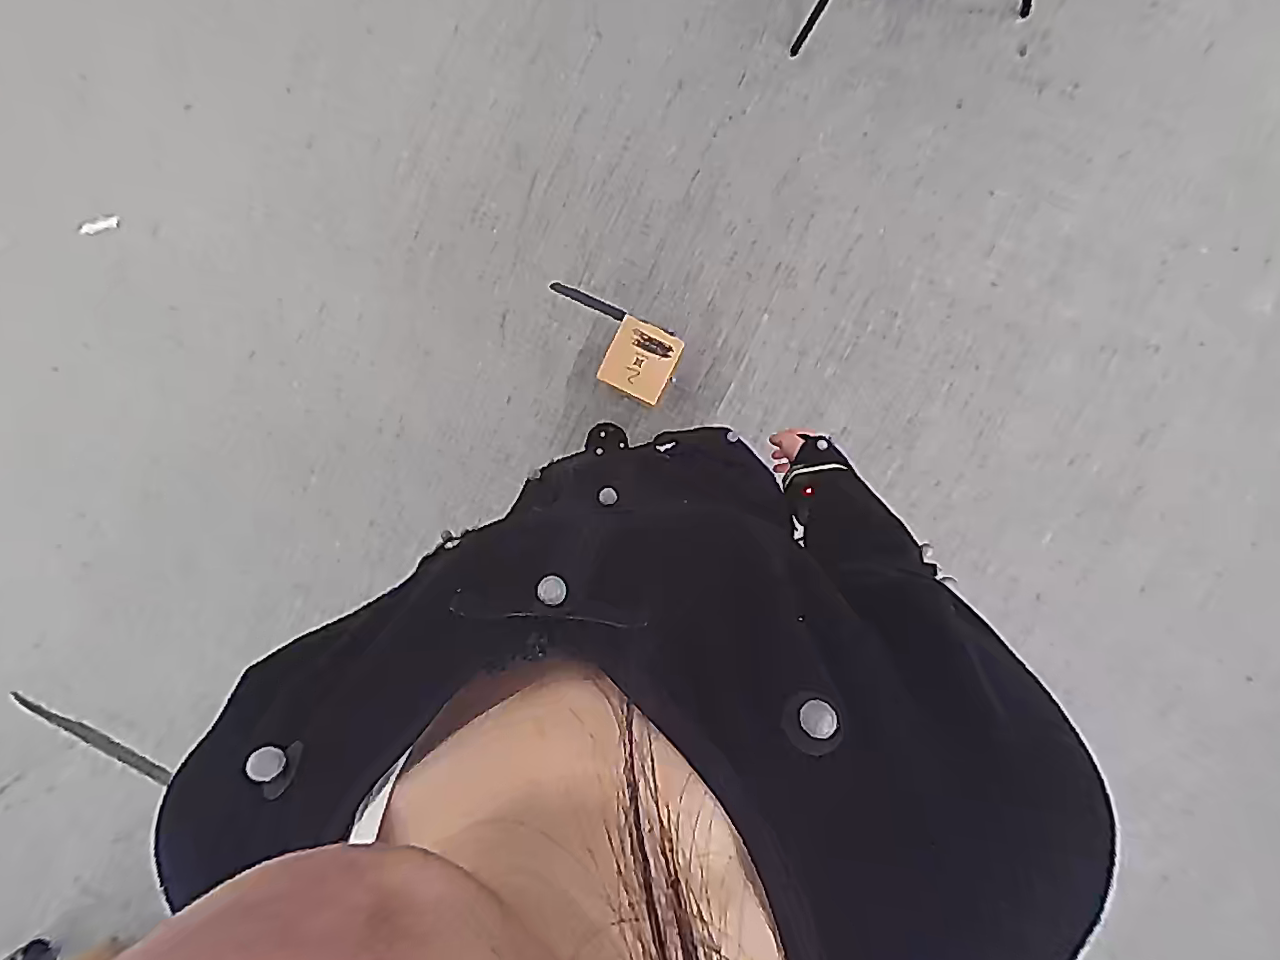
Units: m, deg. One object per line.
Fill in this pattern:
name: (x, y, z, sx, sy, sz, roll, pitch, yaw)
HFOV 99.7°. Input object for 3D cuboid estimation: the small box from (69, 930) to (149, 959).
small box: (-1.635, 1.494, 1.600, 0.179, 0.176, 0.168, 44, 94, 0)
